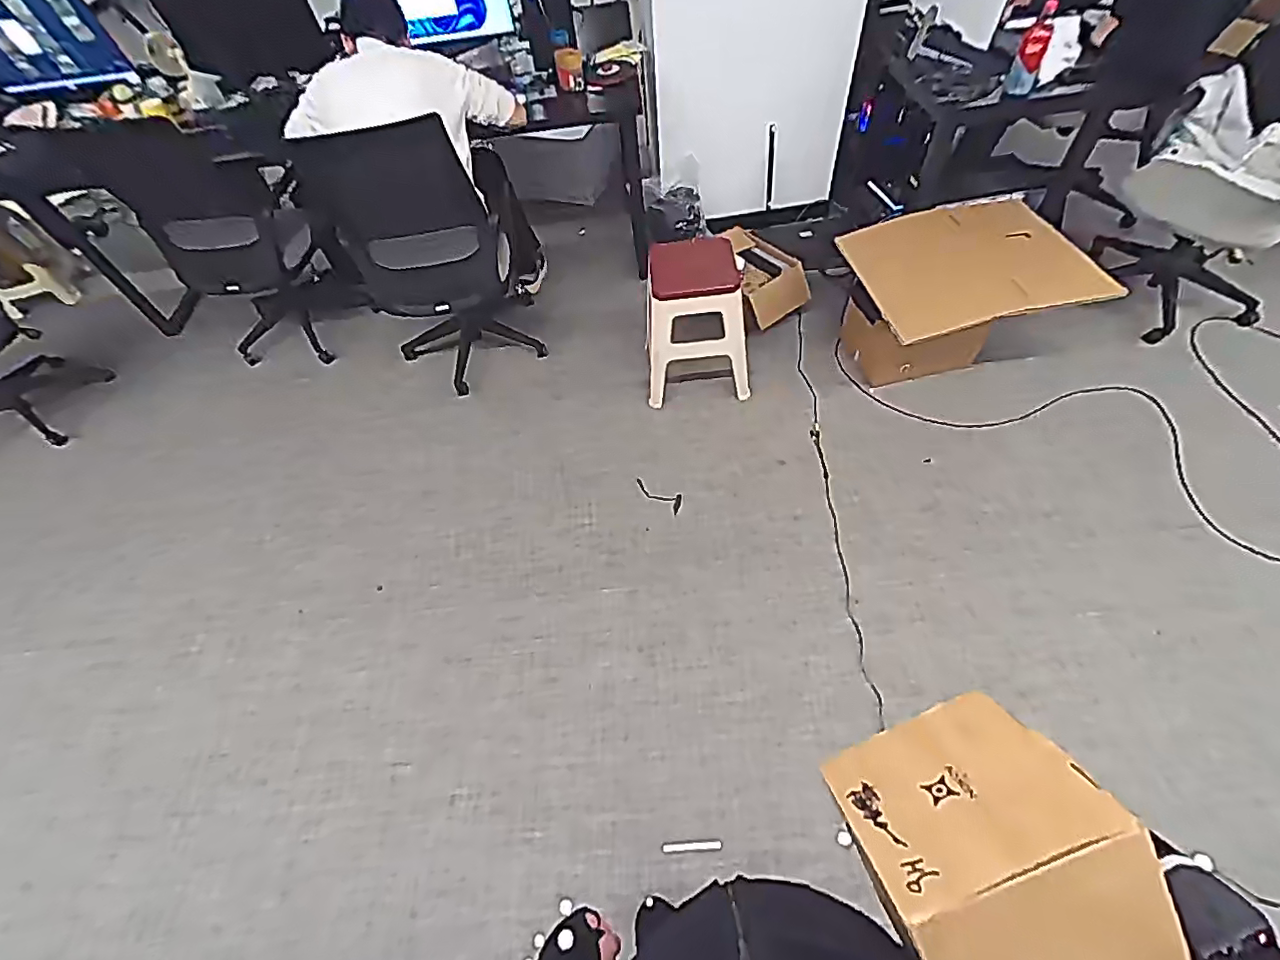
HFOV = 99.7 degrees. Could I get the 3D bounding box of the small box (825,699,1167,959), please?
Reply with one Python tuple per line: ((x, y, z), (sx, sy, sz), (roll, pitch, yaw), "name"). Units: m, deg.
((0.296, 0.336, 0.470), (0.179, 0.168, 0.176), (-25, 99, 1), "small box")
